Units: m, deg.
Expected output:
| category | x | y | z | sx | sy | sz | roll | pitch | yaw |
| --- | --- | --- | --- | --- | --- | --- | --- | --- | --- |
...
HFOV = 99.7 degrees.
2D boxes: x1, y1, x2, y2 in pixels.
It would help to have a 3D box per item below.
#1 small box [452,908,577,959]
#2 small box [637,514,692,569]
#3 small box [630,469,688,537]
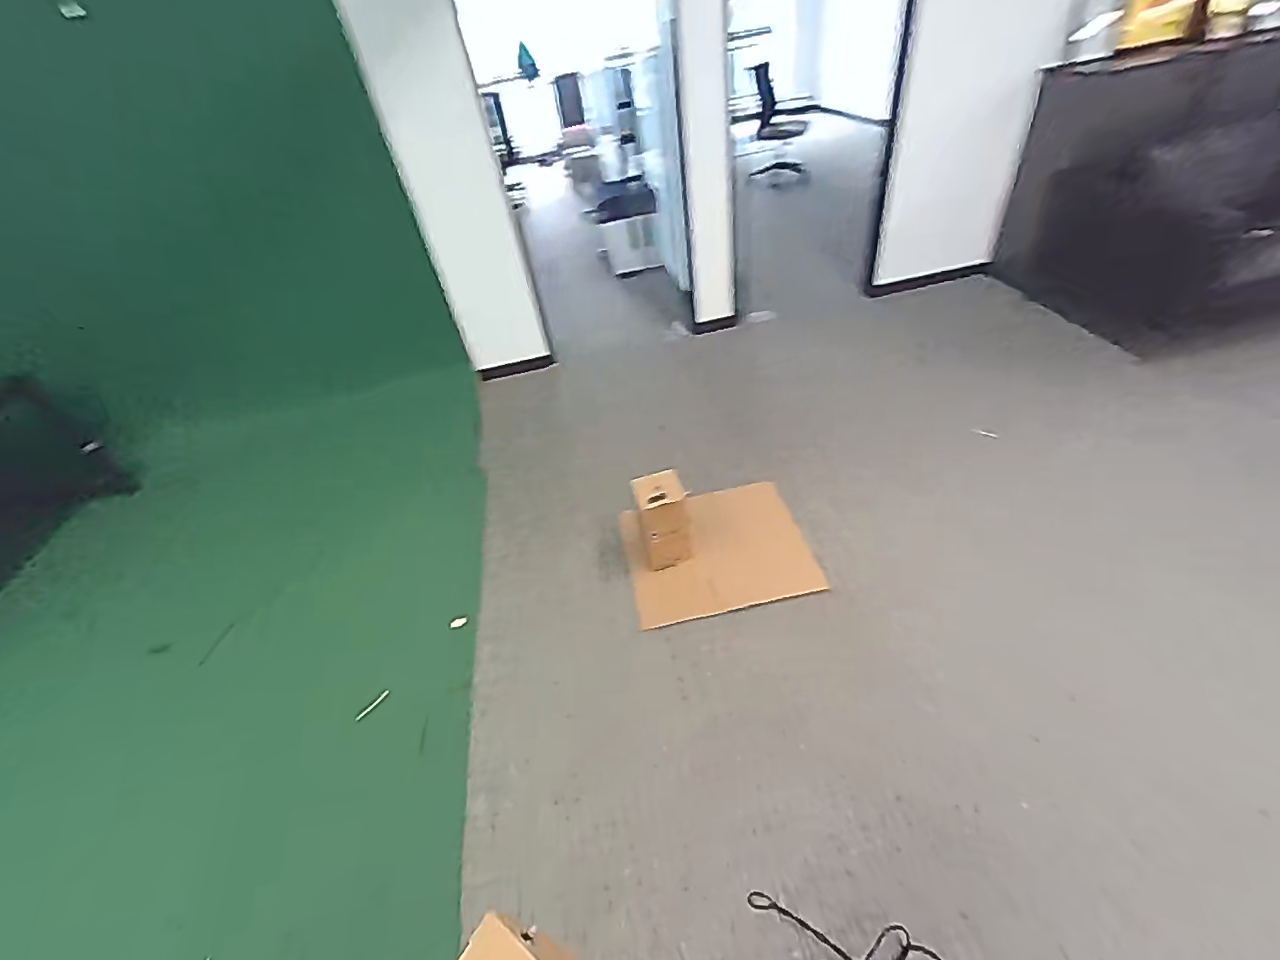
| category | x | y | z | sx | sy | sz | roll | pitch | yaw |
| --- | --- | --- | --- | --- | --- | --- | --- | --- | --- |
| small box | -0.112 | 0.562 | 0.515 | 0.179 | 0.176 | 0.168 | 19 | 54 | 34 |
| small box | 0.095 | 0.213 | 2.095 | 0.168 | 0.176 | 0.179 | -17 | 42 | -8 |
| small box | 0.072 | 0.091 | 1.988 | 0.168 | 0.176 | 0.179 | -15 | 40 | -5 |
